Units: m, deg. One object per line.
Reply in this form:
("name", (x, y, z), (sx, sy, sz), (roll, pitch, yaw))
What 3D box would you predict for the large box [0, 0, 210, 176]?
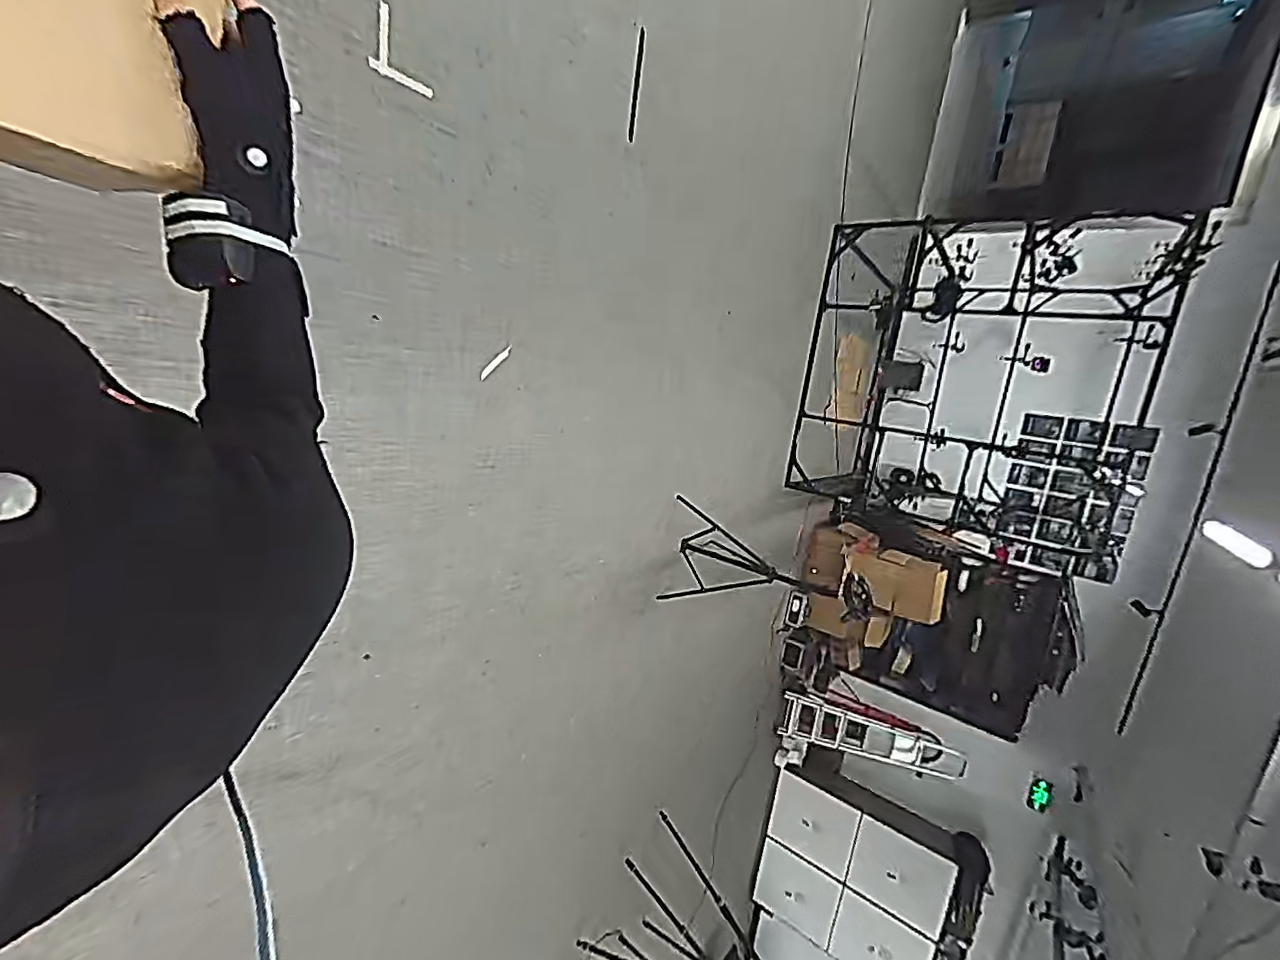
("large box", (-0.557, -0.428, 0.325), (0.408, 0.320, 0.320), (-3, 110, -57))
